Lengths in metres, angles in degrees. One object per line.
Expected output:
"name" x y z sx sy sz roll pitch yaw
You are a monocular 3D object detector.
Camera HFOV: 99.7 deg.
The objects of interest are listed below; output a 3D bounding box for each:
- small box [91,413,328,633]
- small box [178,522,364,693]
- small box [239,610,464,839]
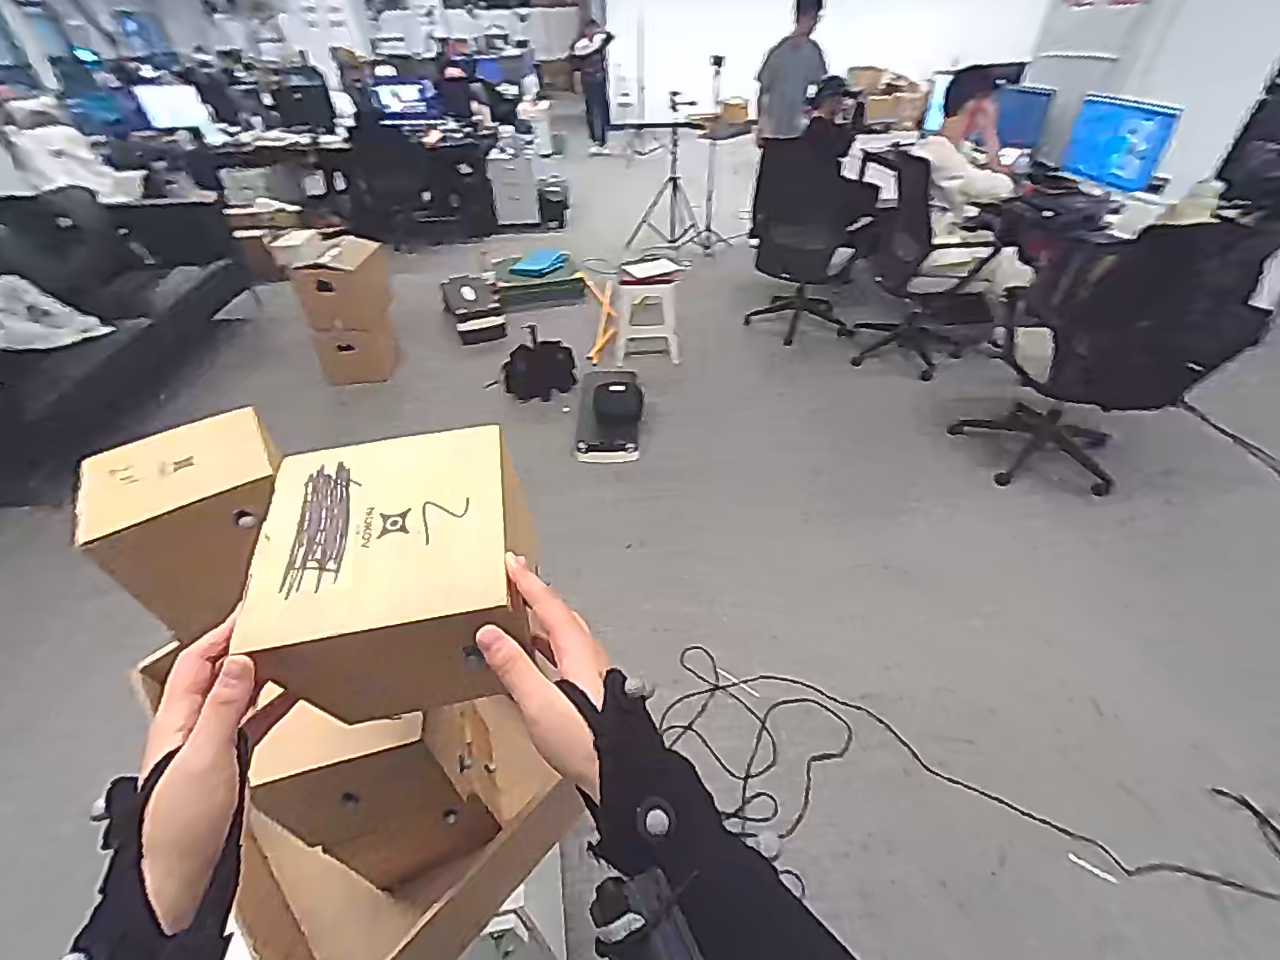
"small box" -0.515 0.050 0.671 0.179 0.176 0.168 -27 47 -24
"small box" -0.526 0.169 0.786 0.168 0.176 0.179 -25 47 -22
"small box" -0.314 0.286 0.638 0.179 0.176 0.168 -12 40 -9
